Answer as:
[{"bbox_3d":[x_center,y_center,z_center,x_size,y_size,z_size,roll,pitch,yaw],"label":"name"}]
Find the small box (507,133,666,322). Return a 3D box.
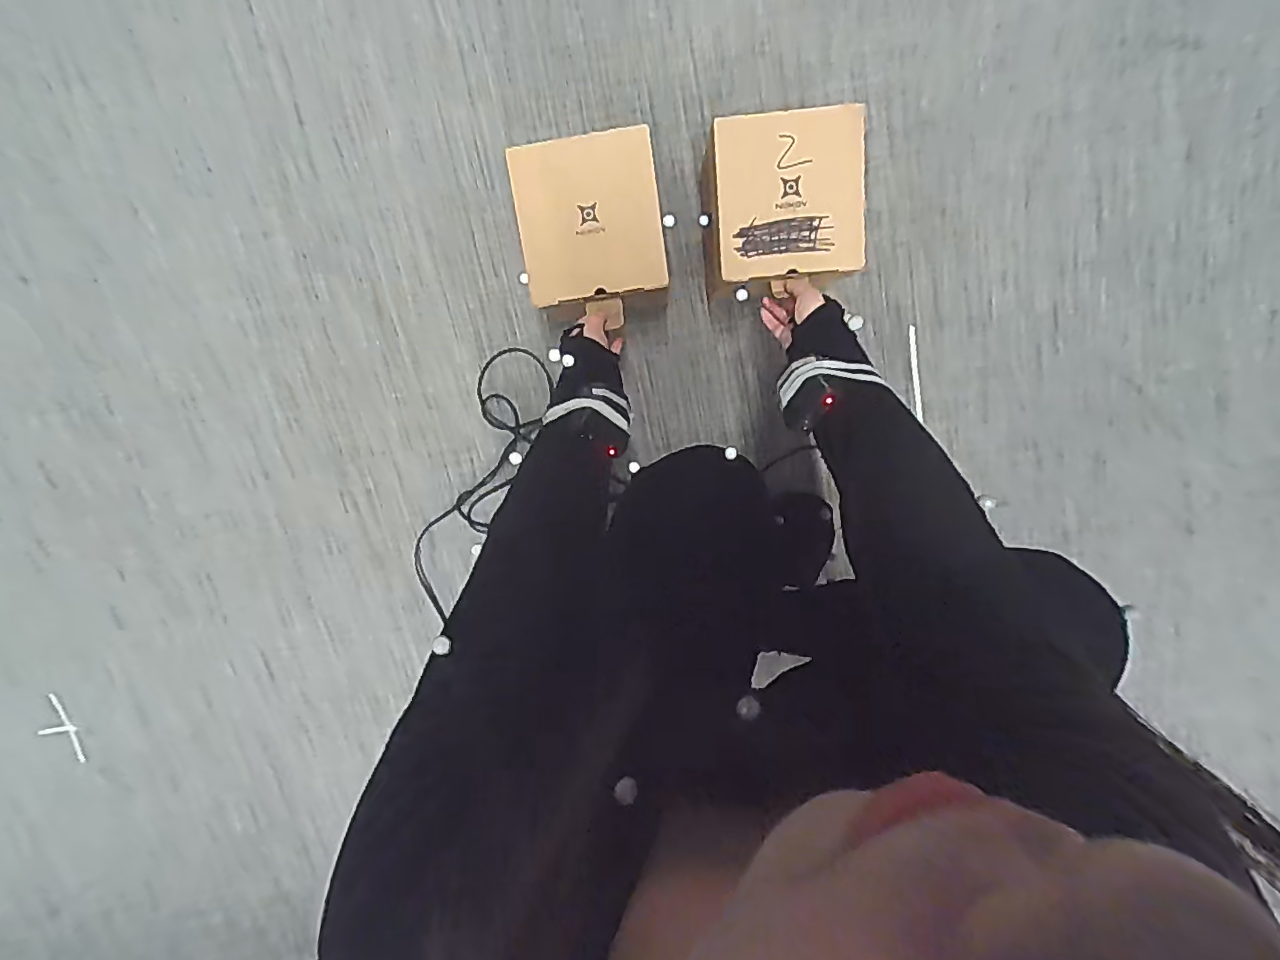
[{"bbox_3d":[-0.060,-0.313,0.706,0.168,0.176,0.179,-8,102,3],"label":"small box"}]
